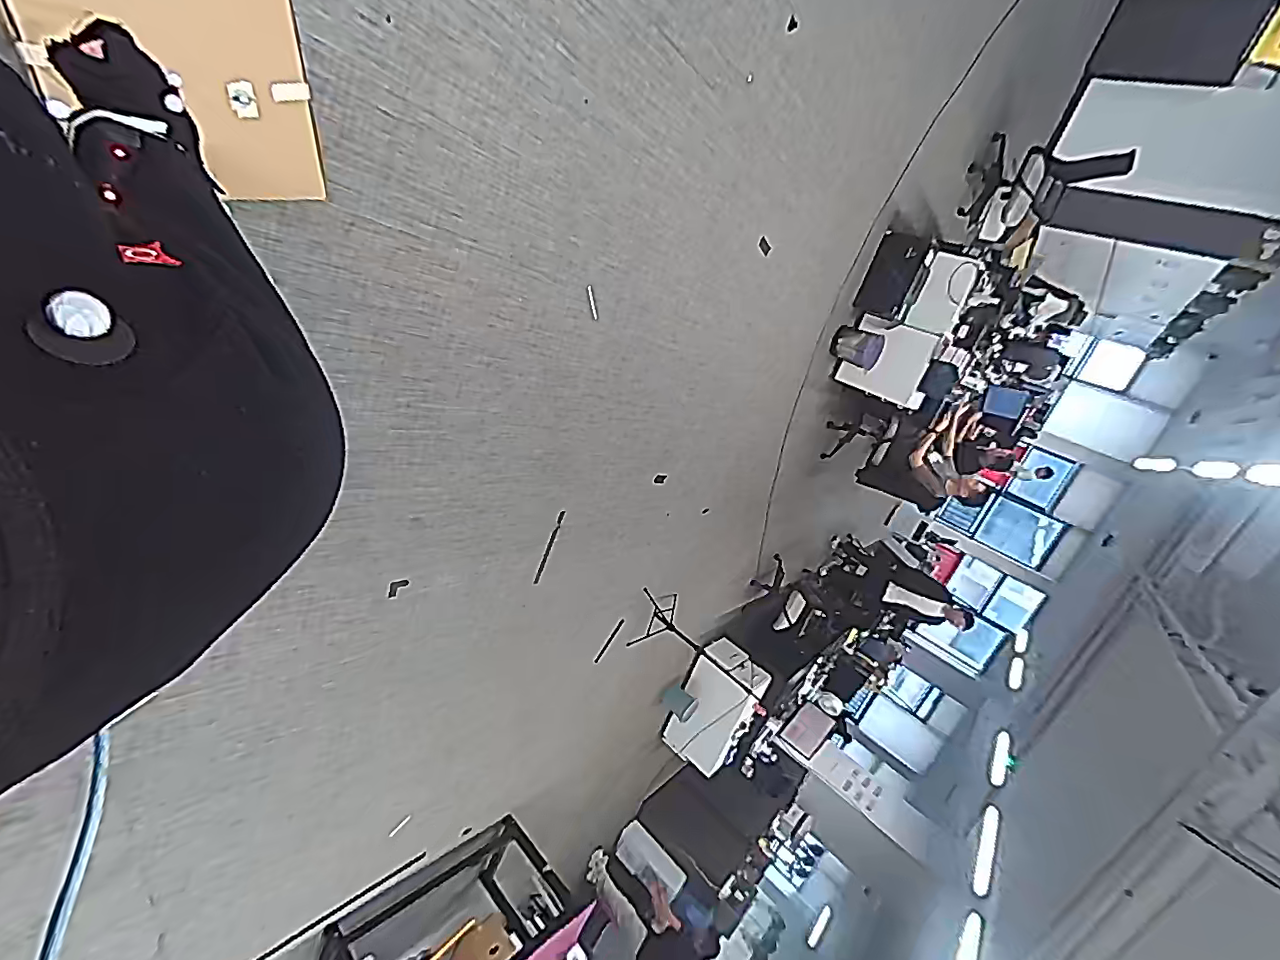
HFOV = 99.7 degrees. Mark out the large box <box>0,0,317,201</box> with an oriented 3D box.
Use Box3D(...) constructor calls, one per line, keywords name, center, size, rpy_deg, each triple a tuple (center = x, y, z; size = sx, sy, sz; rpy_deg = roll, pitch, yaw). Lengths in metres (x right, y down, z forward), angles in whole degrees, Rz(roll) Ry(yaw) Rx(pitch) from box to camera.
Box3D(name="large box", center=(-0.775, -0.642, 0.861), size=(0.320, 0.408, 0.320), rpy_deg=(-23, 133, -39))
